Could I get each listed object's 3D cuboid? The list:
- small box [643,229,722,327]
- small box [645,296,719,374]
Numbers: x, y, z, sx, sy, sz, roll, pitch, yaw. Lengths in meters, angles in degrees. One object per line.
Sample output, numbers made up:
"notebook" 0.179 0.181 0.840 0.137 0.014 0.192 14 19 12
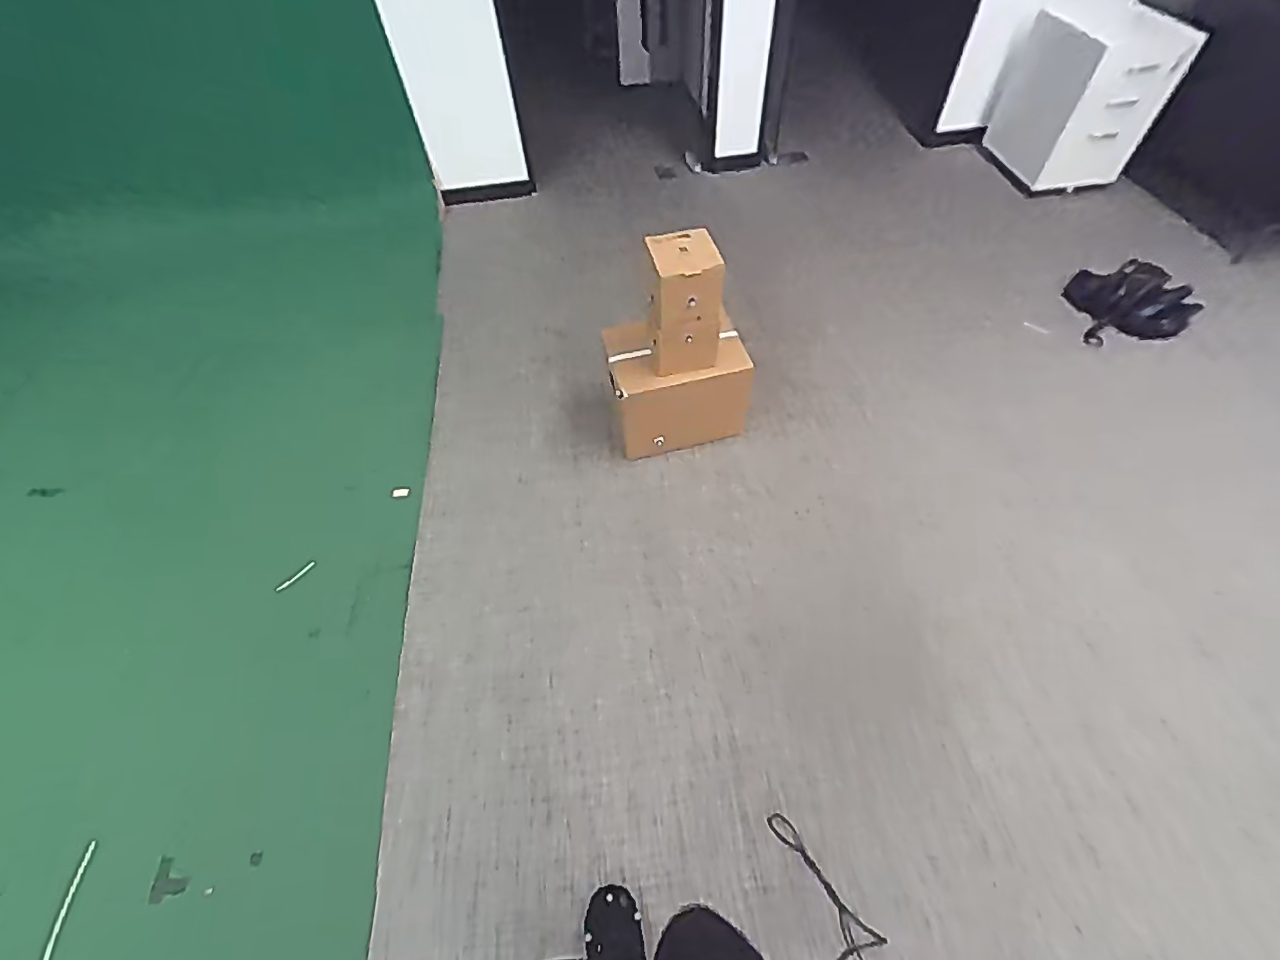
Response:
"small box" 0.110 -0.524 1.424 0.168 0.176 0.179 -12 56 -5
"small box" 0.117 -0.424 1.554 0.179 0.176 0.168 -11 56 -6
